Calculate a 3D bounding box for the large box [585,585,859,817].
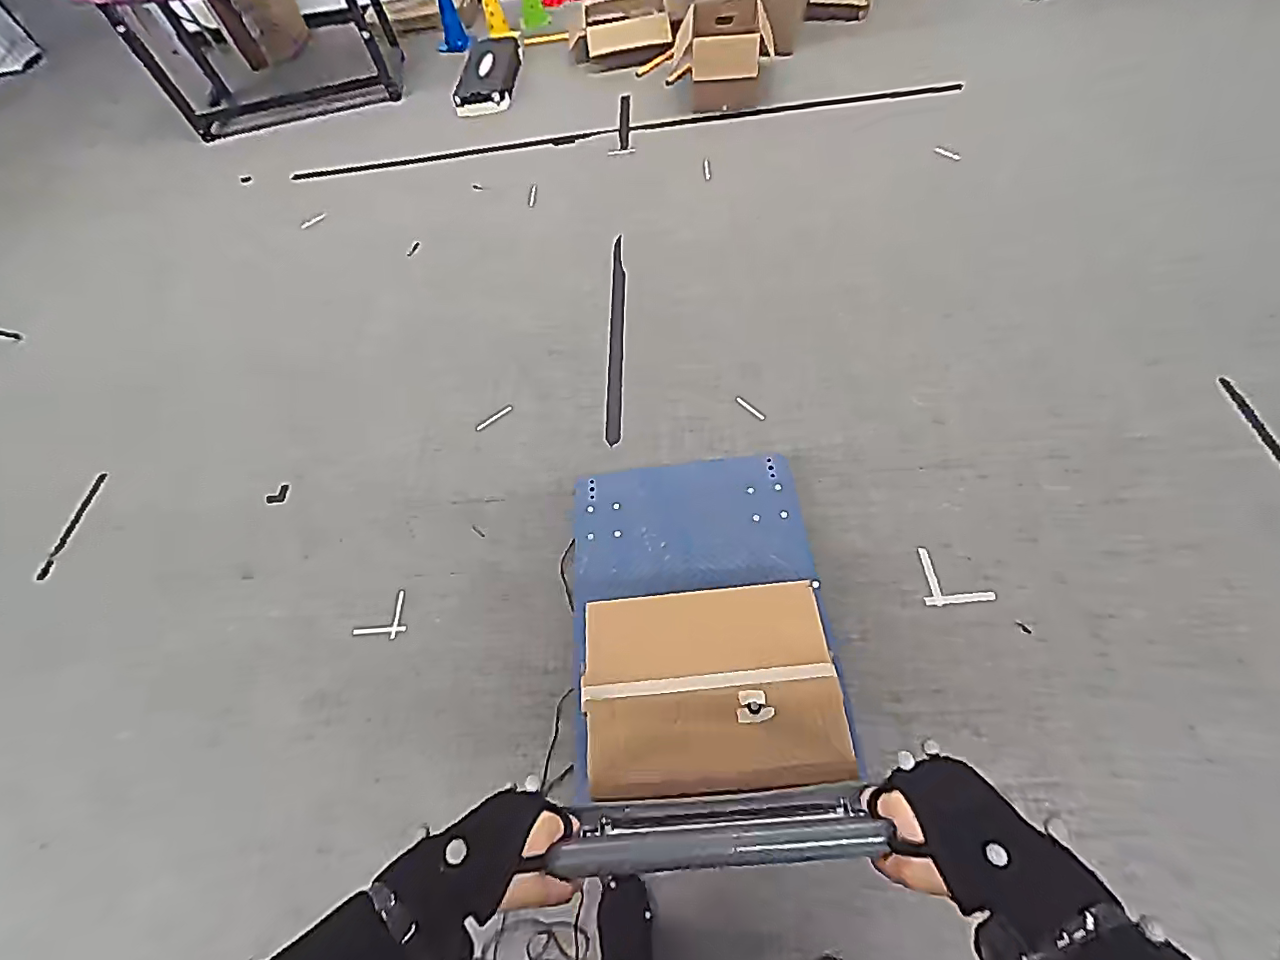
[{"bbox_3d":[0.123,0.413,0.986,0.408,0.320,0.320,-6,57,3],"label":"large box"}]
